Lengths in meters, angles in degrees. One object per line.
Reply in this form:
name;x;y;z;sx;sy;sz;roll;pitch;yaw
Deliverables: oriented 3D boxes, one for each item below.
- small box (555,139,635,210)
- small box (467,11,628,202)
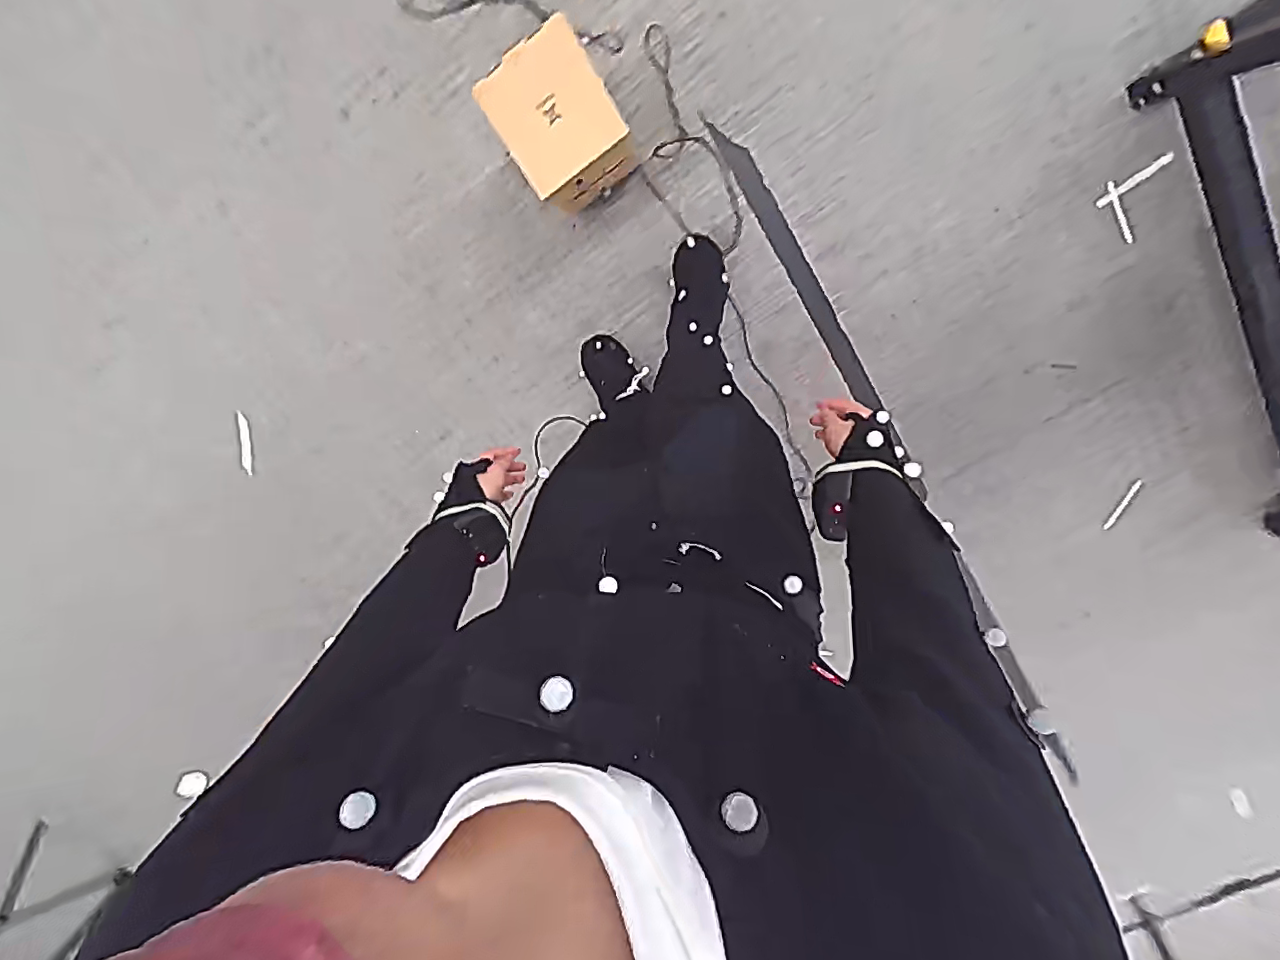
small box;-0.124;-0.627;1.000;0.168;0.176;0.179;-31;109;14
small box;-0.131;-0.563;0.850;0.168;0.176;0.179;-31;108;14
